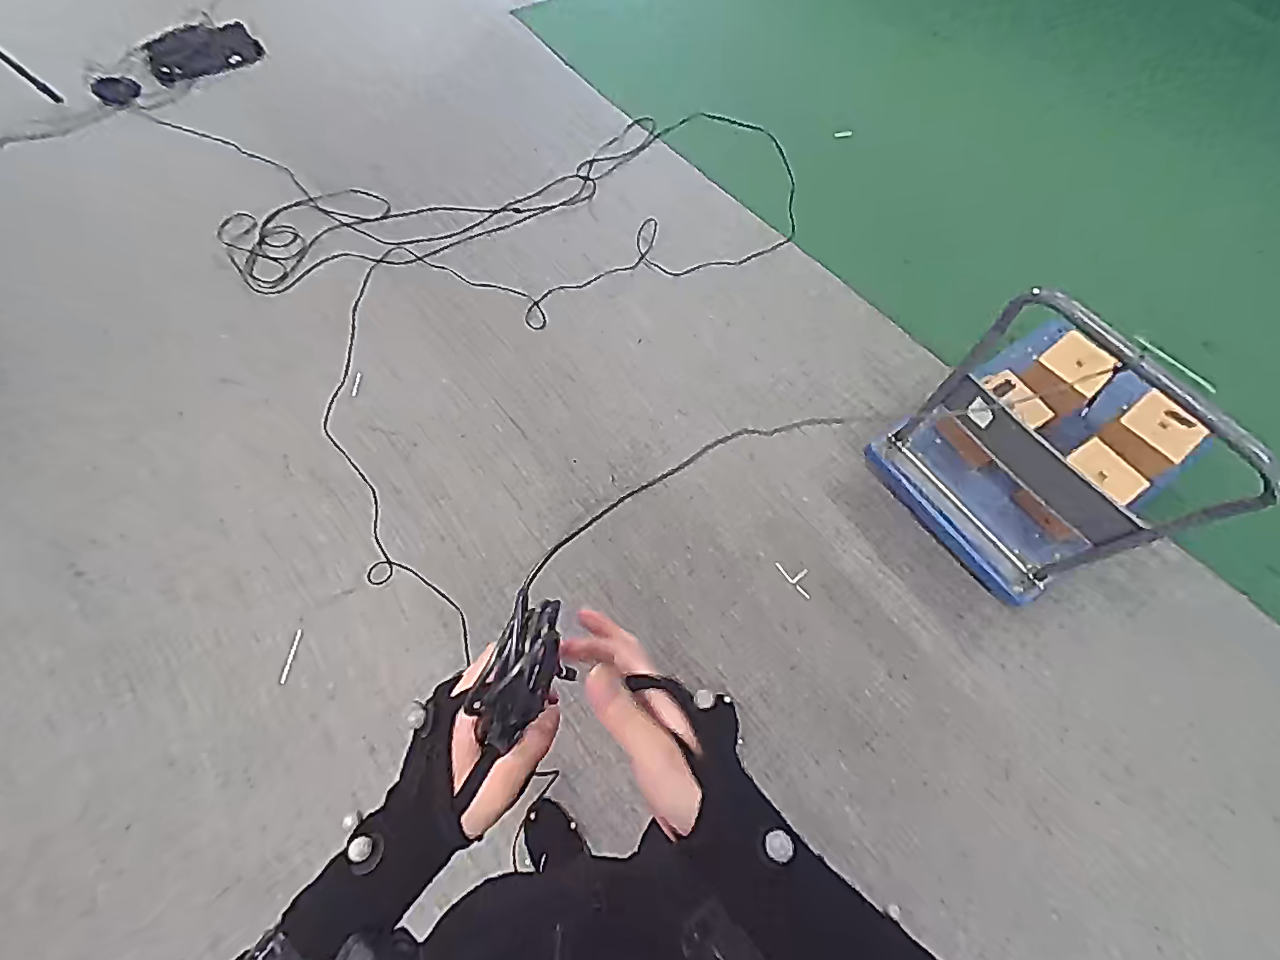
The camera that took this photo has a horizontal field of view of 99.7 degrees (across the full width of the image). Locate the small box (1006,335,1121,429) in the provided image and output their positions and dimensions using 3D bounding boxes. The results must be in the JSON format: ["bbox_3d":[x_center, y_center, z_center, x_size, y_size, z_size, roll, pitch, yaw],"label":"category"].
[{"bbox_3d":[1.219,-0.280,1.575,0.179,0.176,0.168,-35,70,-15],"label":"small box"}]

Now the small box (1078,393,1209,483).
[{"bbox_3d":[1.374,-0.101,1.490,0.179,0.176,0.168,-35,69,-15],"label":"small box"}]

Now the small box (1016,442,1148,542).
[{"bbox_3d":[1.150,0.036,1.425,0.179,0.176,0.168,-31,68,-13],"label":"small box"}]
